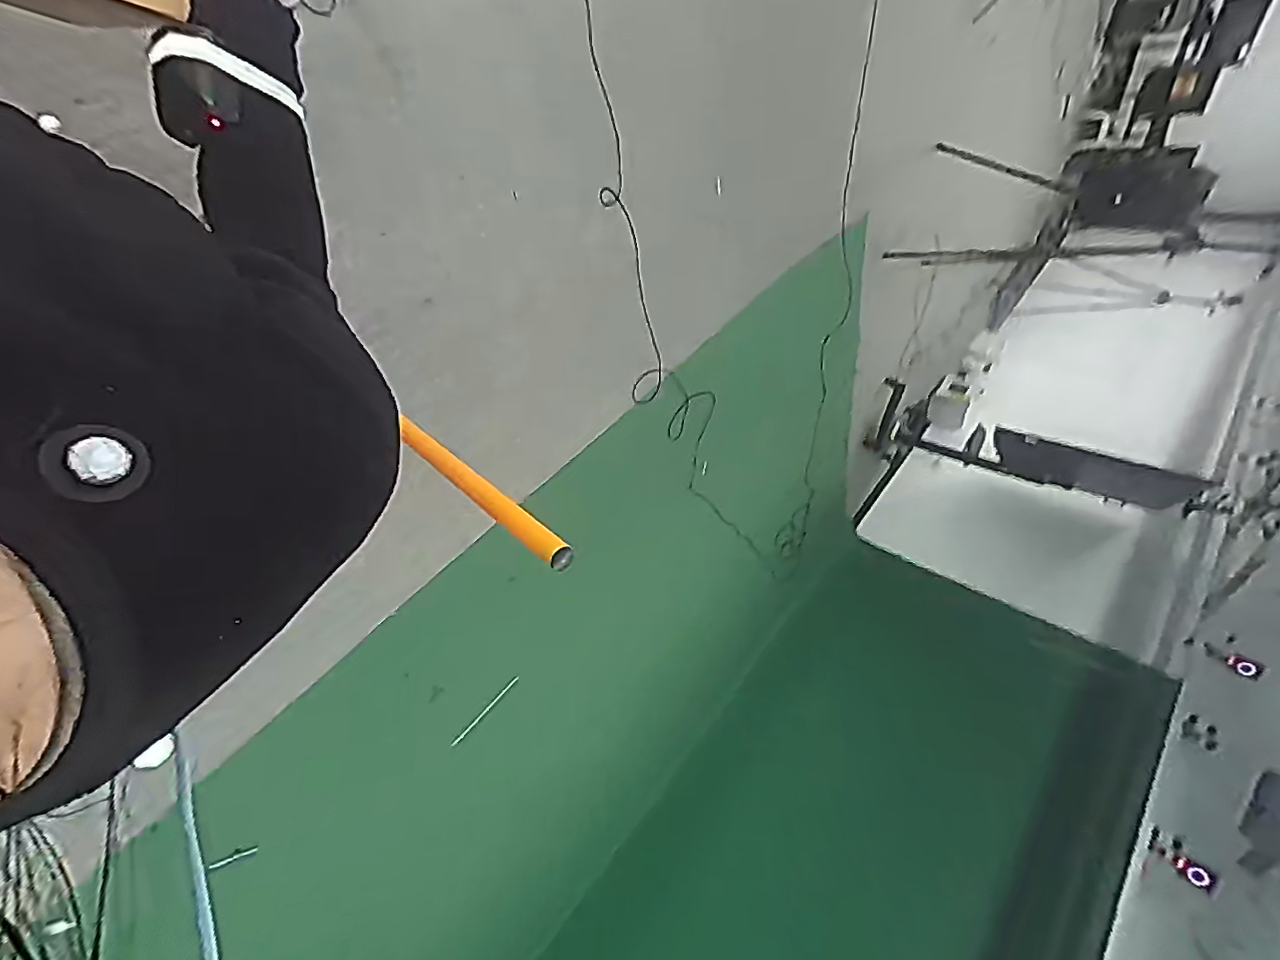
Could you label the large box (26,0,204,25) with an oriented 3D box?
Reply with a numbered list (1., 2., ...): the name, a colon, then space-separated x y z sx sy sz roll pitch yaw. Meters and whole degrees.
1. large box: -0.548 -0.510 0.286 0.408 0.320 0.320 -21 131 -52
